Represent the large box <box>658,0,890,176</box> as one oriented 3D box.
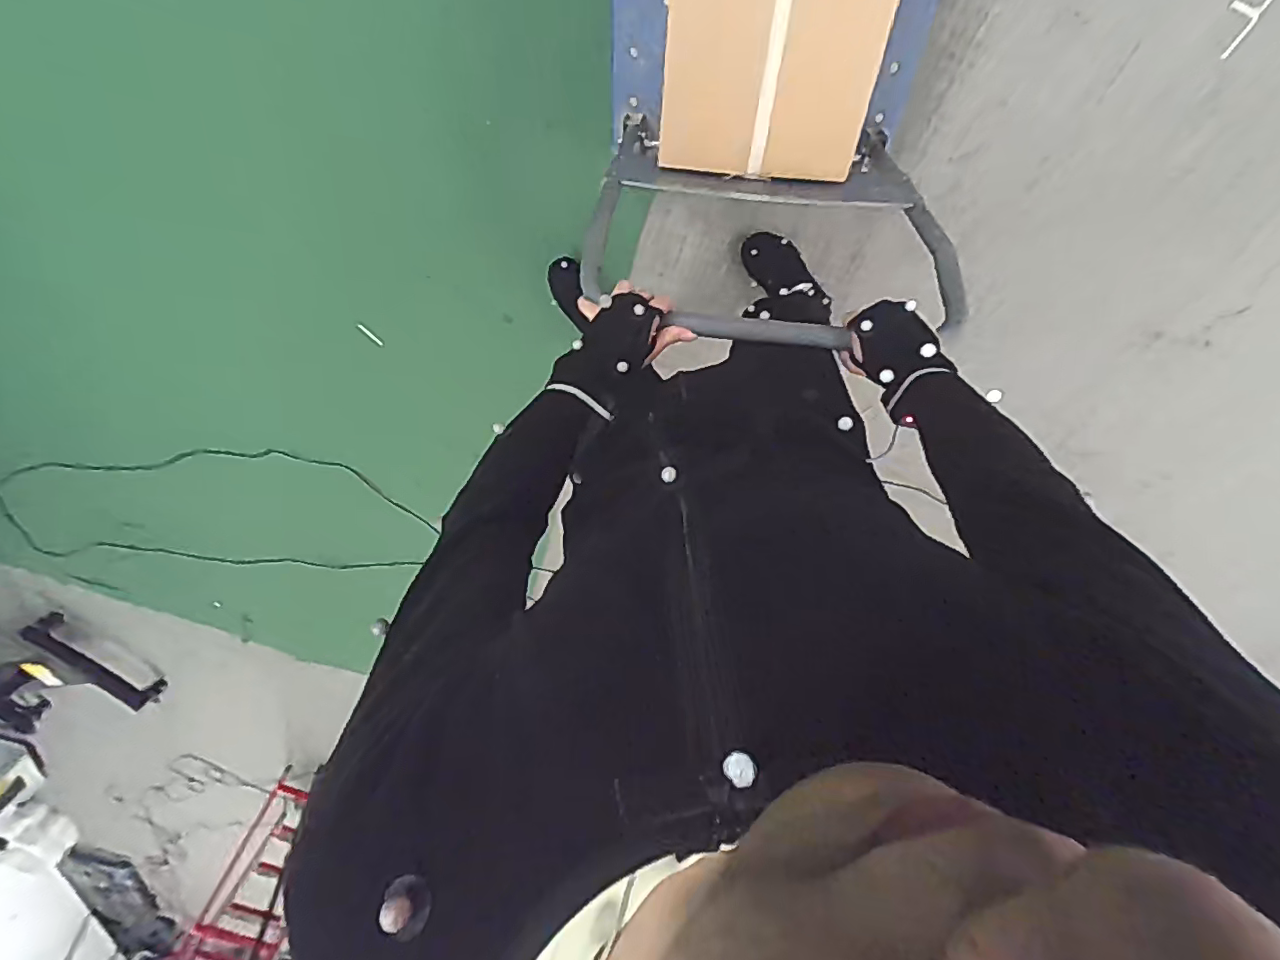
[{"bbox_3d":[0.209,-0.762,0.881,0.320,0.320,0.408,6,132,1],"label":"large box"}]
